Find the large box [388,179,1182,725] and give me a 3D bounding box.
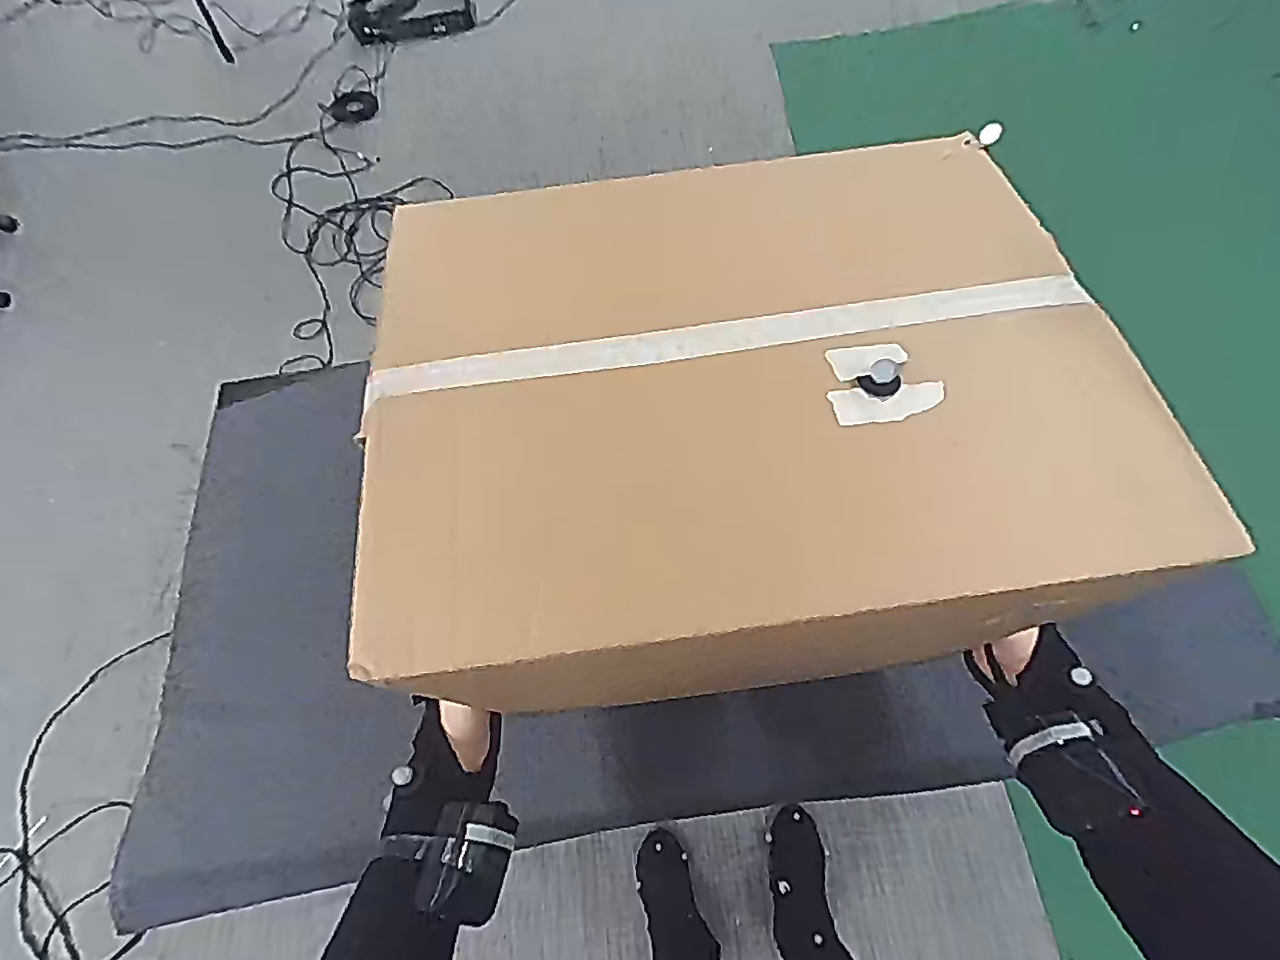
[{"bbox_3d":[0.058,0.005,0.460,0.408,0.320,0.320,-8,64,-2],"label":"large box"}]
